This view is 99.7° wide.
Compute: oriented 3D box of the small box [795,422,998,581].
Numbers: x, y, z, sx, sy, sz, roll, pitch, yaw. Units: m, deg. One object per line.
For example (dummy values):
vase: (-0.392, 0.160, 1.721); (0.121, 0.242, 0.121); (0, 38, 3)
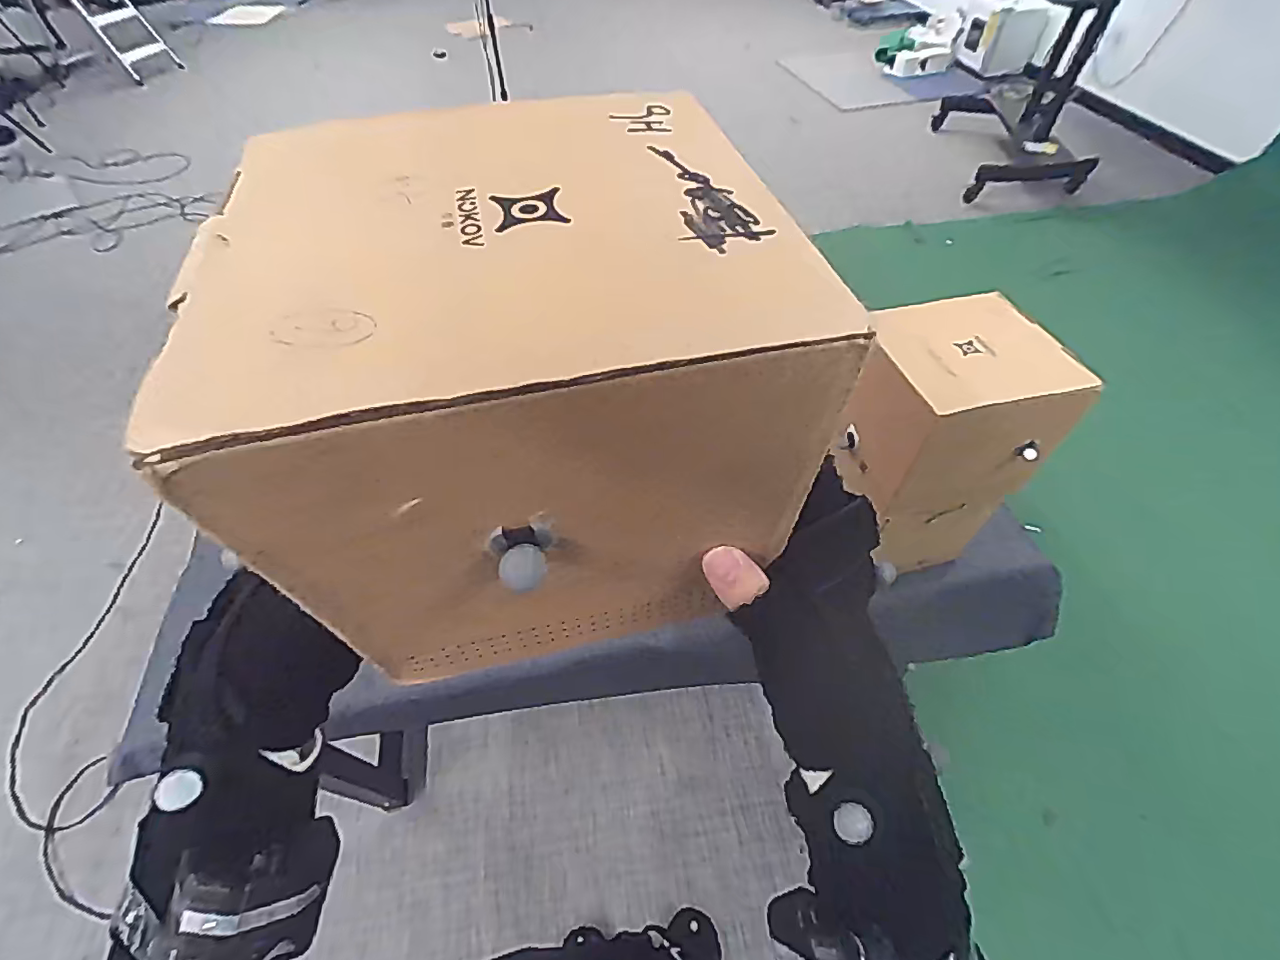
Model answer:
small box: (0.337, 0.024, 0.754); (0.168, 0.176, 0.179); (-12, 51, -8)

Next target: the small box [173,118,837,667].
small box: (-0.044, -0.033, 0.248); (0.179, 0.176, 0.168); (-12, 54, -8)

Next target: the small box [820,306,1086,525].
small box: (0.335, -0.071, 0.623); (0.179, 0.176, 0.168); (-12, 50, -6)
